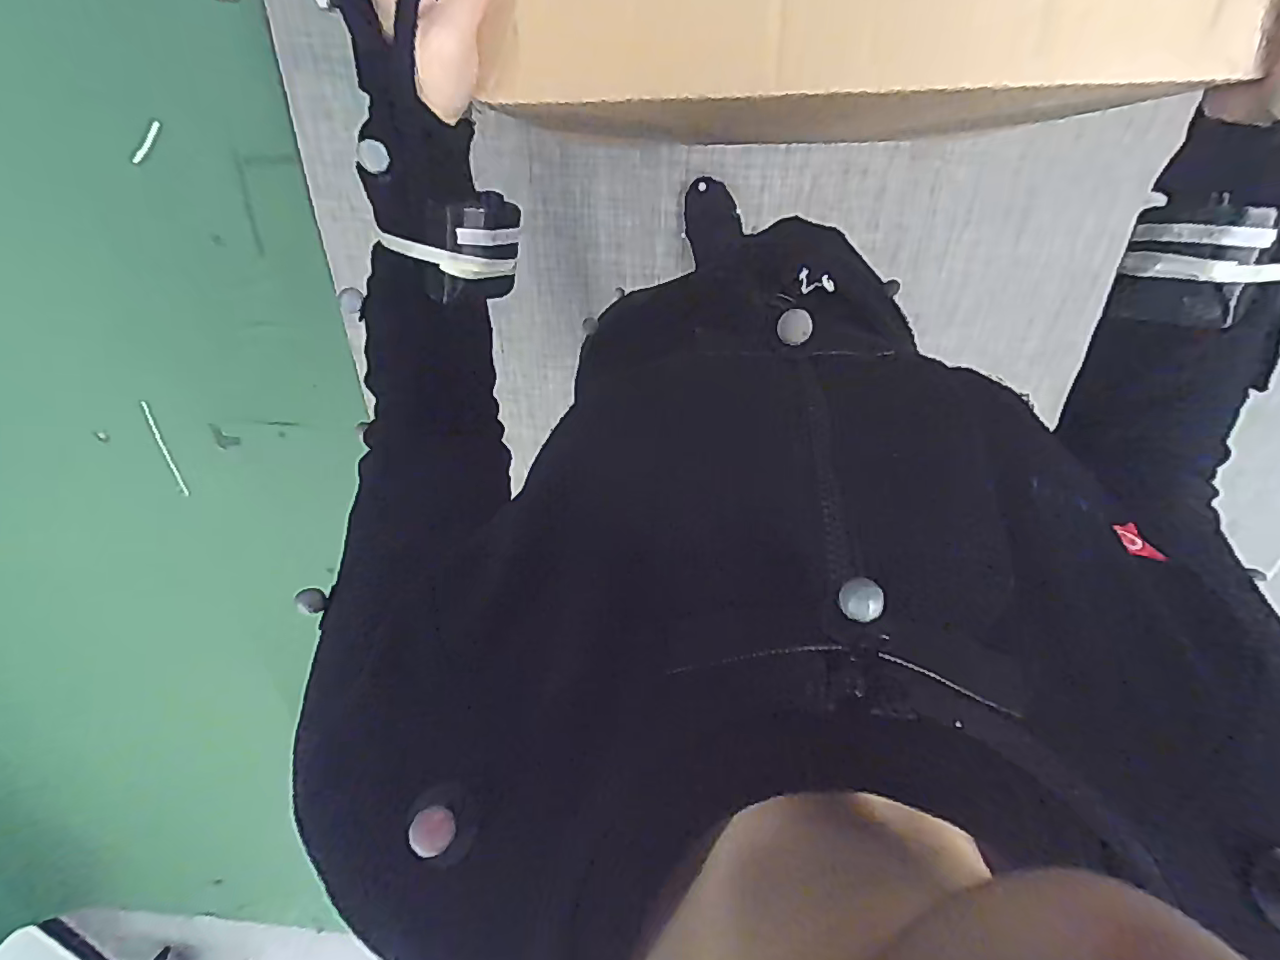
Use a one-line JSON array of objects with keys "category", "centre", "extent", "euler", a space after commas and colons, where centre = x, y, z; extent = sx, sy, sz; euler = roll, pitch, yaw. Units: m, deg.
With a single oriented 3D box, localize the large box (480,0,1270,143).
[{"category": "large box", "centre": [0.116, -0.422, 0.351], "extent": [0.408, 0.320, 0.320], "euler": [0, 118, 4]}]
